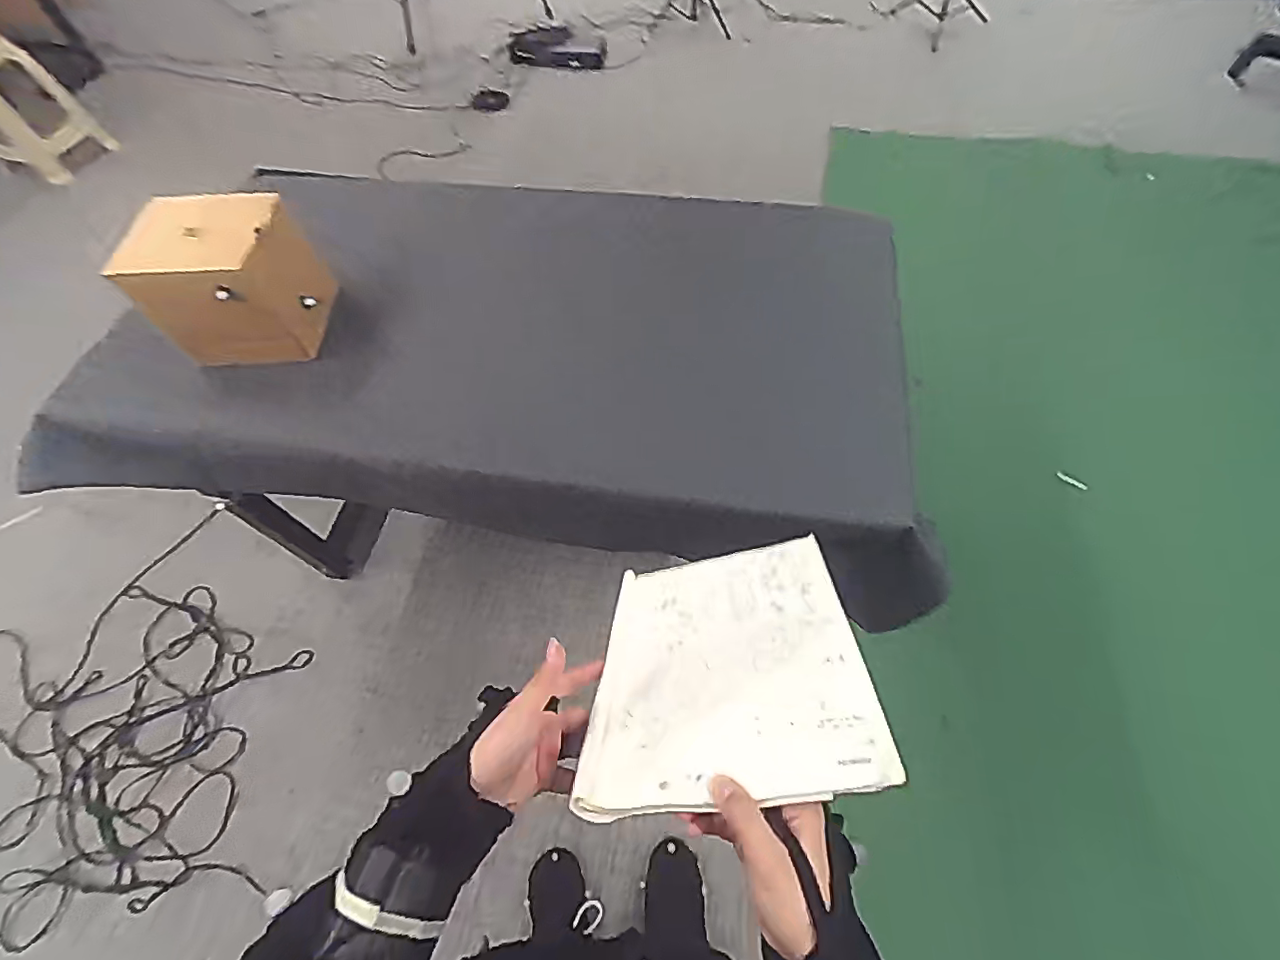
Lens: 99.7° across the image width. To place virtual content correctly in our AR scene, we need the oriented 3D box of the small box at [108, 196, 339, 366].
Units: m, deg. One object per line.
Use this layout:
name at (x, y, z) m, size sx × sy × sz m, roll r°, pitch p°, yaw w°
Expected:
small box at (-0.579, -0.280, 0.783) m, size 0.179 × 0.176 × 0.168 m, roll -3°, pitch 59°, yaw -1°
